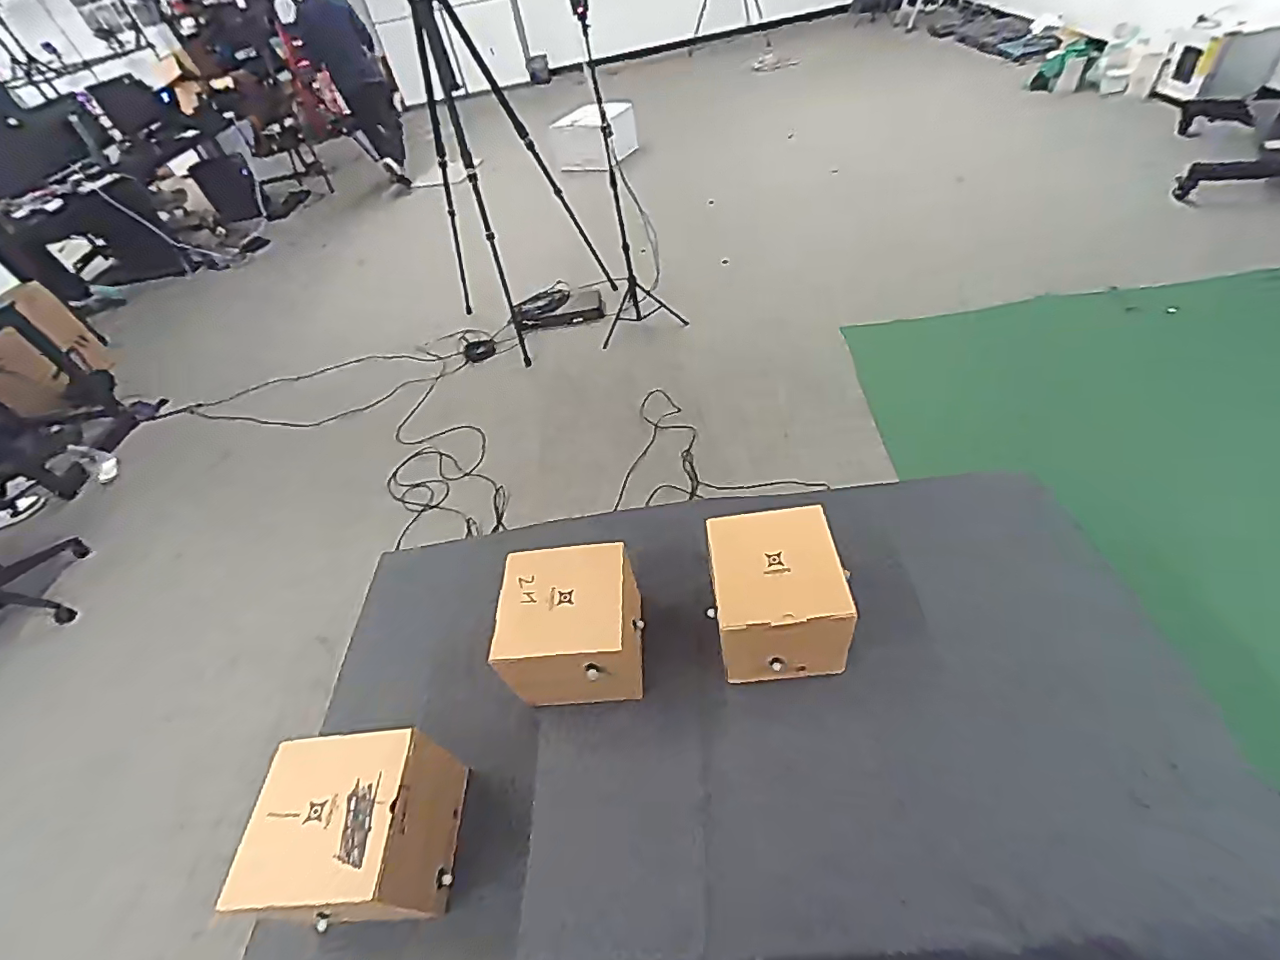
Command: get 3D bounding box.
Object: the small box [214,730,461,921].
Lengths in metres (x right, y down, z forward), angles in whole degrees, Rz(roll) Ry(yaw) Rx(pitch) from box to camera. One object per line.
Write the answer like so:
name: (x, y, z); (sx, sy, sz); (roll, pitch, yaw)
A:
small box: (-0.338, 0.419, 0.652); (0.179, 0.176, 0.168); (-7, 46, 6)

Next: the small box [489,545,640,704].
small box: (-0.095, 0.215, 0.789); (0.179, 0.176, 0.168); (-6, 48, 7)

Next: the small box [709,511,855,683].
small box: (0.190, 0.169, 0.775); (0.168, 0.176, 0.179); (-7, 47, 5)
